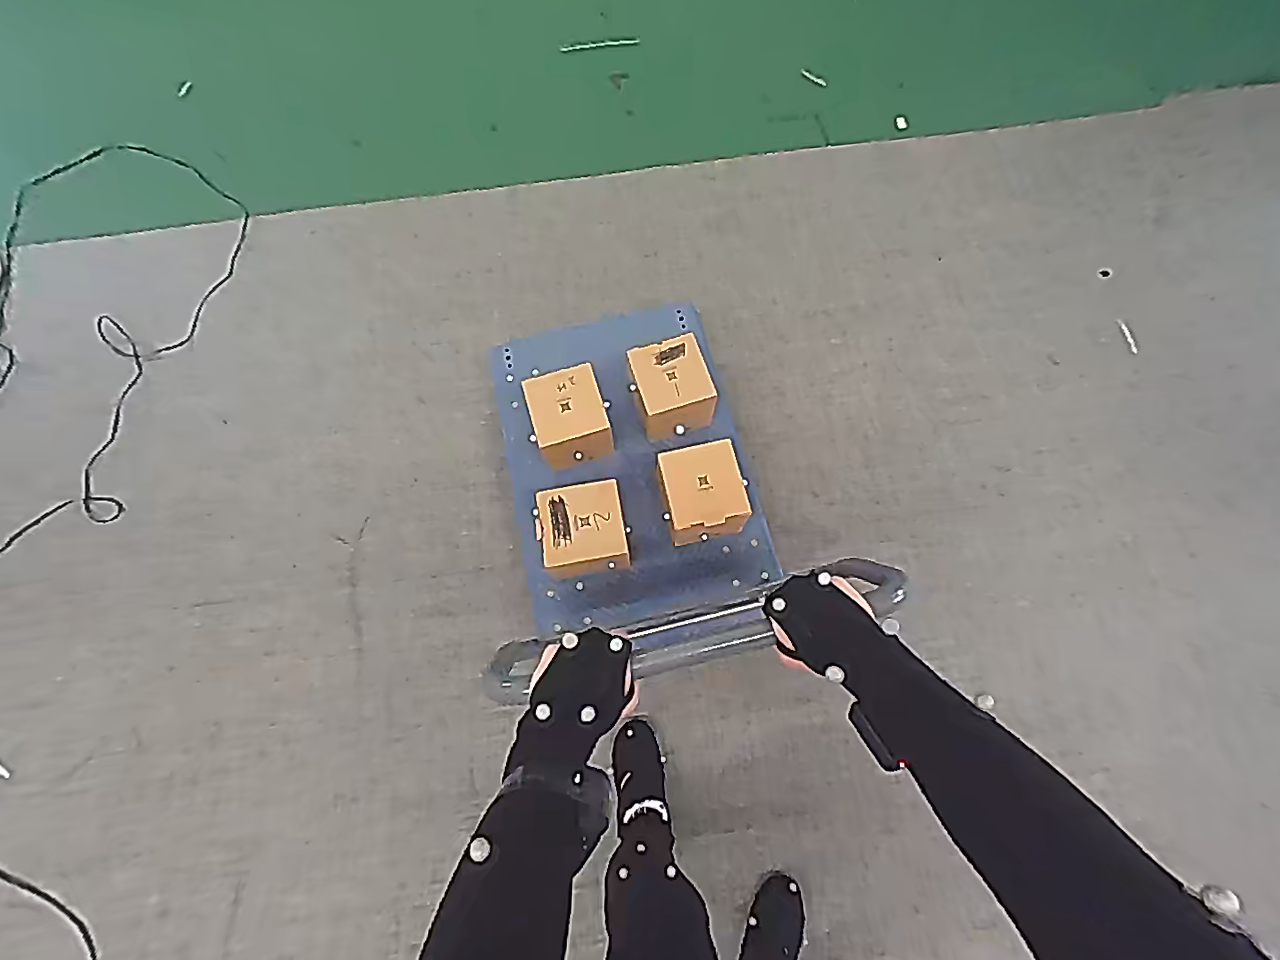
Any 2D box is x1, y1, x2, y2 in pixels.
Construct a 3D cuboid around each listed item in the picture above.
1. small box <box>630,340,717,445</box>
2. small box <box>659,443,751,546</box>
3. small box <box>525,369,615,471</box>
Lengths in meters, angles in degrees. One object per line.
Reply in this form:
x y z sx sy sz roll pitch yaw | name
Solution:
0.076 -0.210 1.330 0.168 0.176 0.179 -17 73 -3 | small box
0.141 0.039 1.246 0.168 0.176 0.179 -13 72 -3 | small box
-0.164 -0.135 1.313 0.168 0.176 0.179 -17 72 -5 | small box
